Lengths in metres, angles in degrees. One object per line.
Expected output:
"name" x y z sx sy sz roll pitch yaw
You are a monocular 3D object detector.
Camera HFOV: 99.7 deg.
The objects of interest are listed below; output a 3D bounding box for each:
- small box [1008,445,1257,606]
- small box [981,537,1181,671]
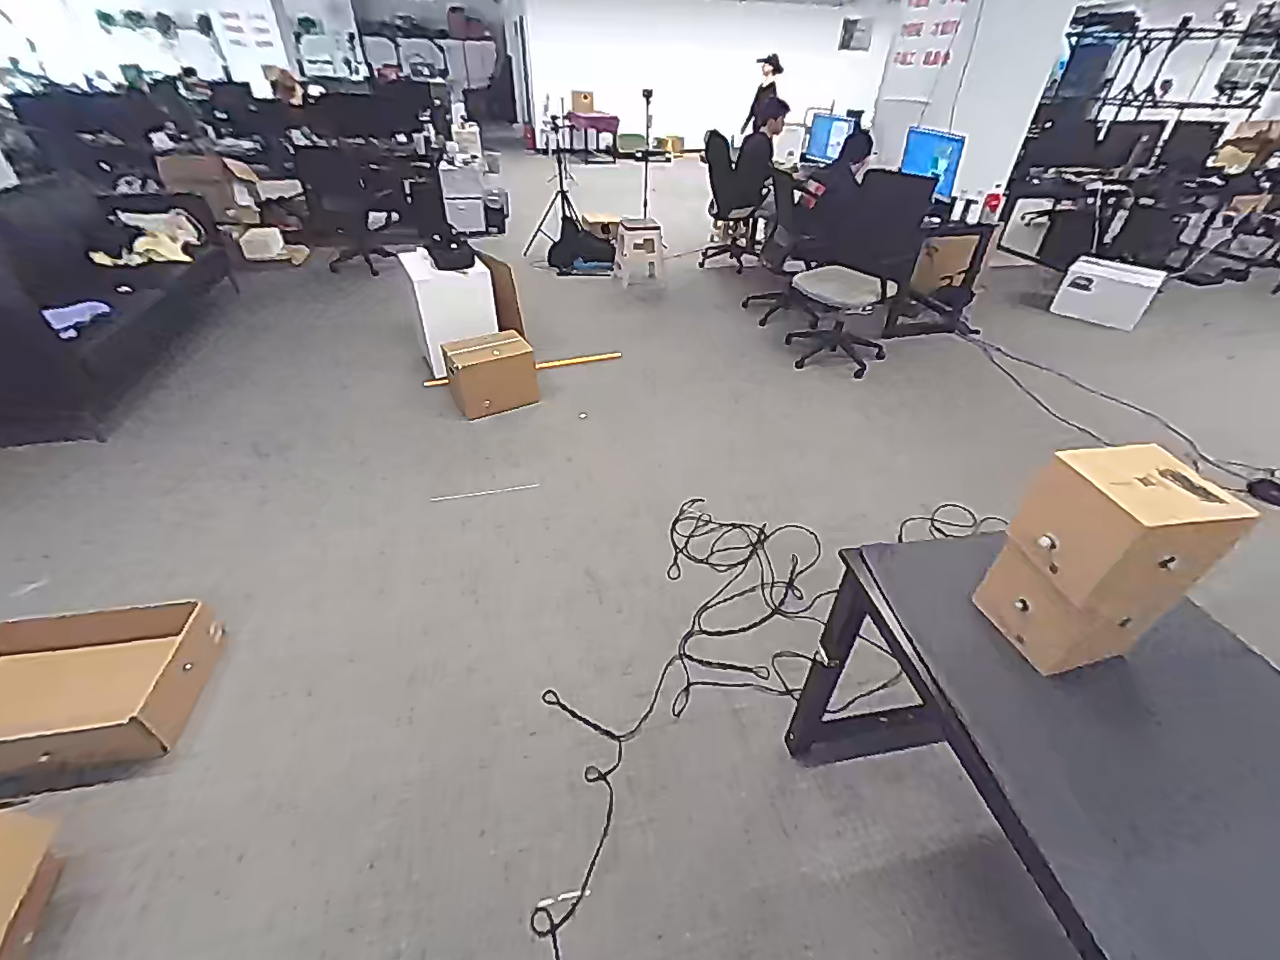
"small box" 0.702 0.066 0.798 0.179 0.176 0.168 -4 39 -7
"small box" 0.712 0.193 0.903 0.179 0.176 0.168 -8 40 -14
